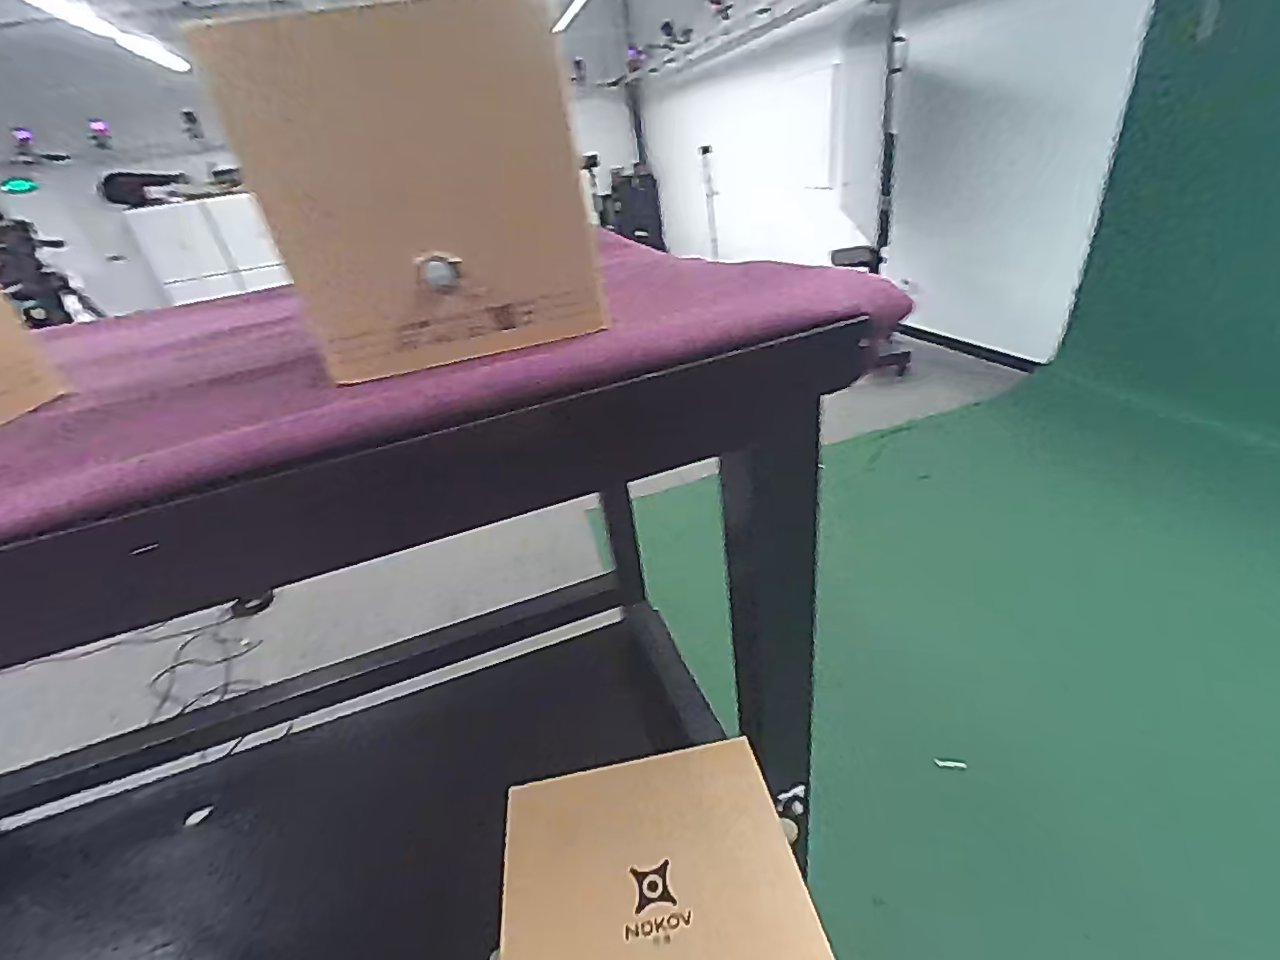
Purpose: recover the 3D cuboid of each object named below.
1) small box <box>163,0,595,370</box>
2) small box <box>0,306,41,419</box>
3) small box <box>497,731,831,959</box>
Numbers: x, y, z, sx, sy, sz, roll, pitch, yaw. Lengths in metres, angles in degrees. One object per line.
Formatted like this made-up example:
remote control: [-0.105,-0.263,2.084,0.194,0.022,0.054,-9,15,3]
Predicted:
small box: [-0.134,-0.186,0.351,0.168,0.176,0.179,-15,32,-7]
small box: [-0.499,-0.080,0.284,0.168,0.176,0.179,-14,30,-8]
small box: [0.014,0.293,0.327,0.168,0.176,0.179,-10,29,-4]
